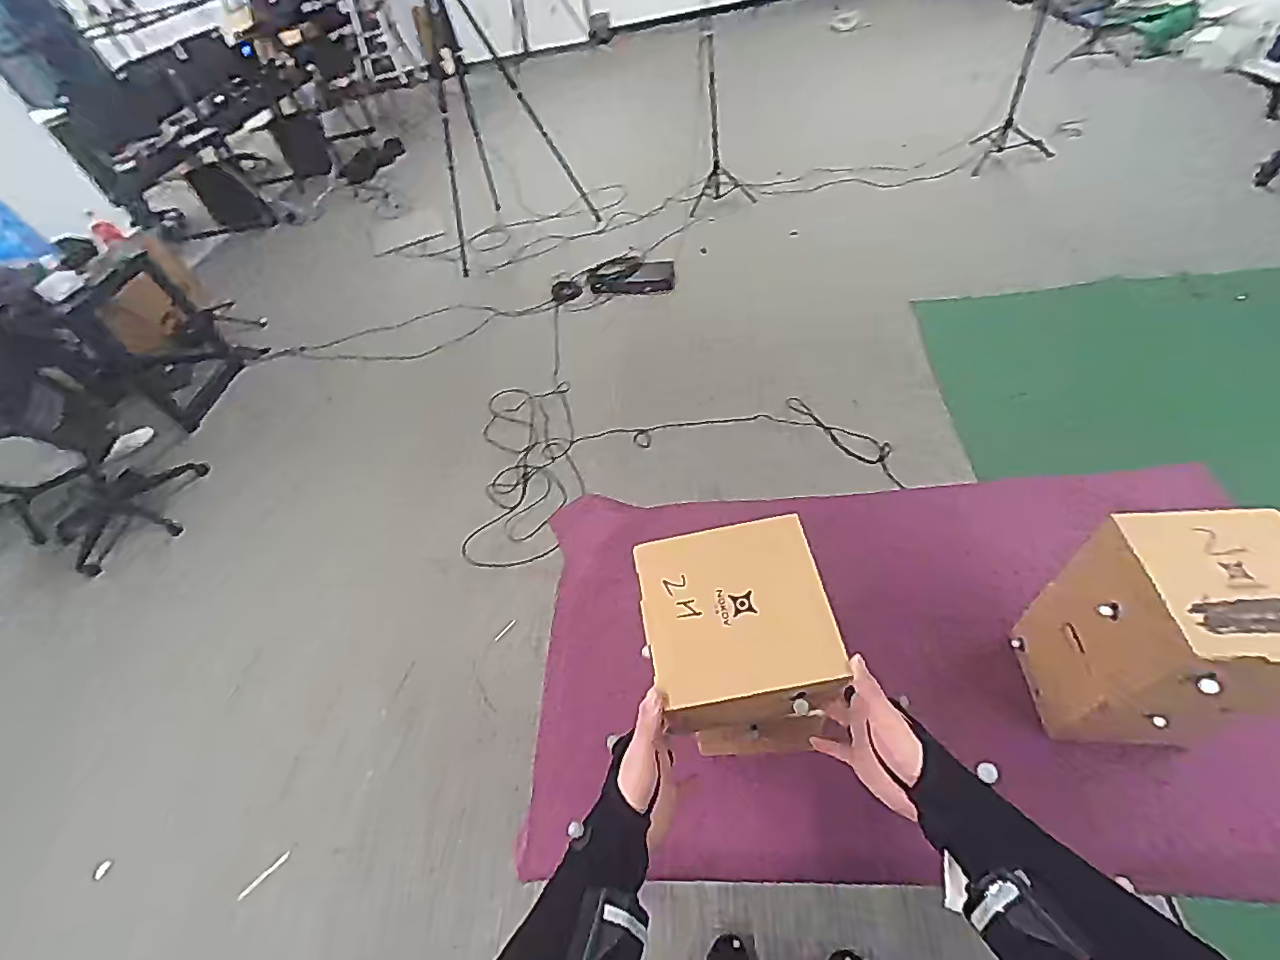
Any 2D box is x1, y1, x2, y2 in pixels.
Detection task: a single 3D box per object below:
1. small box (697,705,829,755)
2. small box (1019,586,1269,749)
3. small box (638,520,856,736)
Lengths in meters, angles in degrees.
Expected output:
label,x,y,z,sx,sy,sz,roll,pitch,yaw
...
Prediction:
label,x,y,z,sx,sy,sz,roll,pitch,yaw
small box,0.170,0.305,0.814,0.179,0.176,0.168,-6,49,7
small box,0.662,0.260,0.748,0.179,0.176,0.168,-2,49,10
small box,0.103,0.165,0.581,0.179,0.176,0.168,-11,57,2
